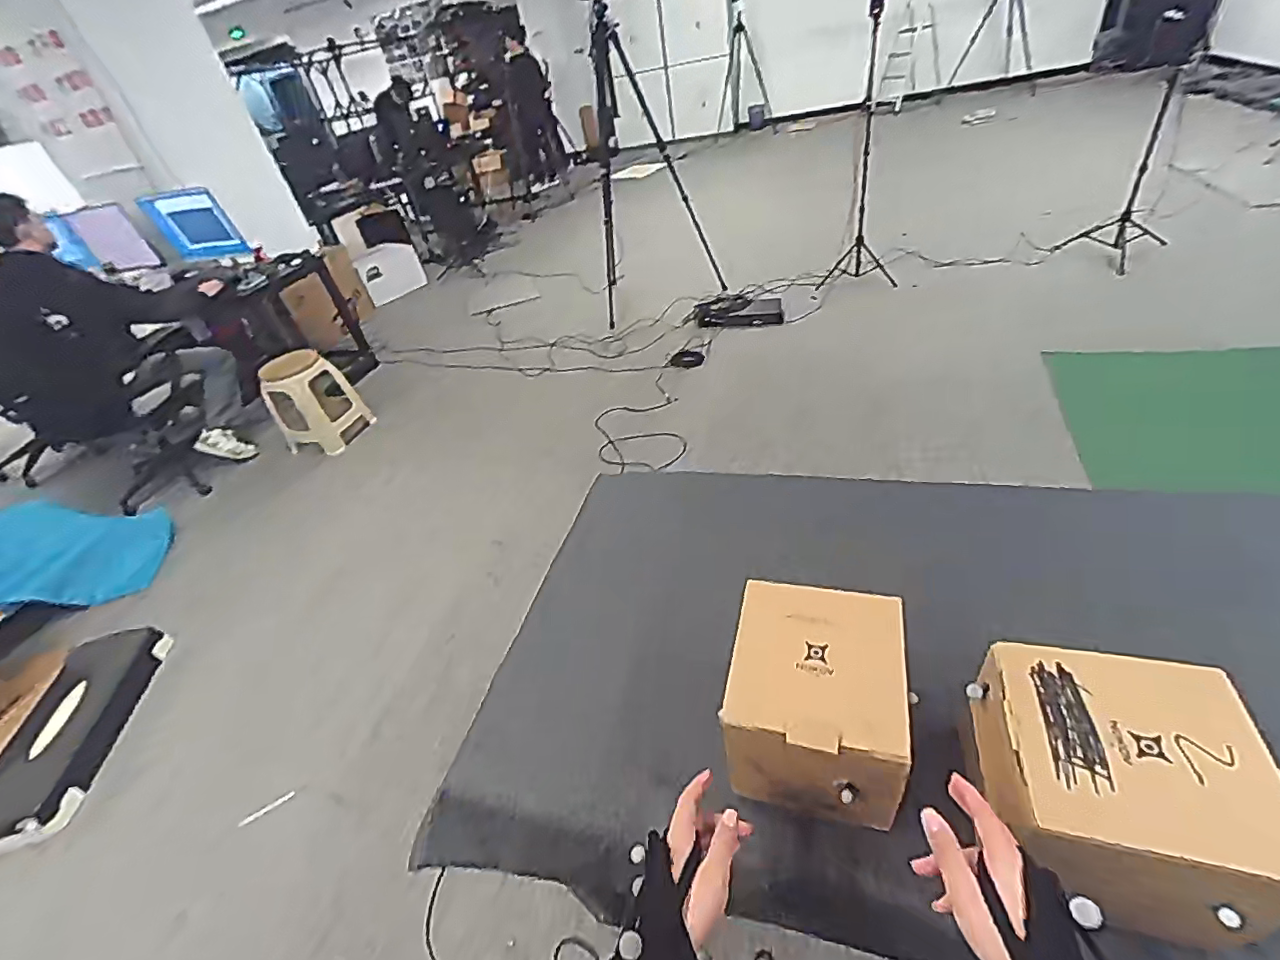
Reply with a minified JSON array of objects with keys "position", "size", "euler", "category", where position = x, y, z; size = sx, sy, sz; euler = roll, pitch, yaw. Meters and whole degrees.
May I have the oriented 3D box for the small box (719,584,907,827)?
[{"position":[0.188,0.242,0.591],"size":[0.168,0.176,0.179],"euler":[4,40,19],"category":"small box"}]
